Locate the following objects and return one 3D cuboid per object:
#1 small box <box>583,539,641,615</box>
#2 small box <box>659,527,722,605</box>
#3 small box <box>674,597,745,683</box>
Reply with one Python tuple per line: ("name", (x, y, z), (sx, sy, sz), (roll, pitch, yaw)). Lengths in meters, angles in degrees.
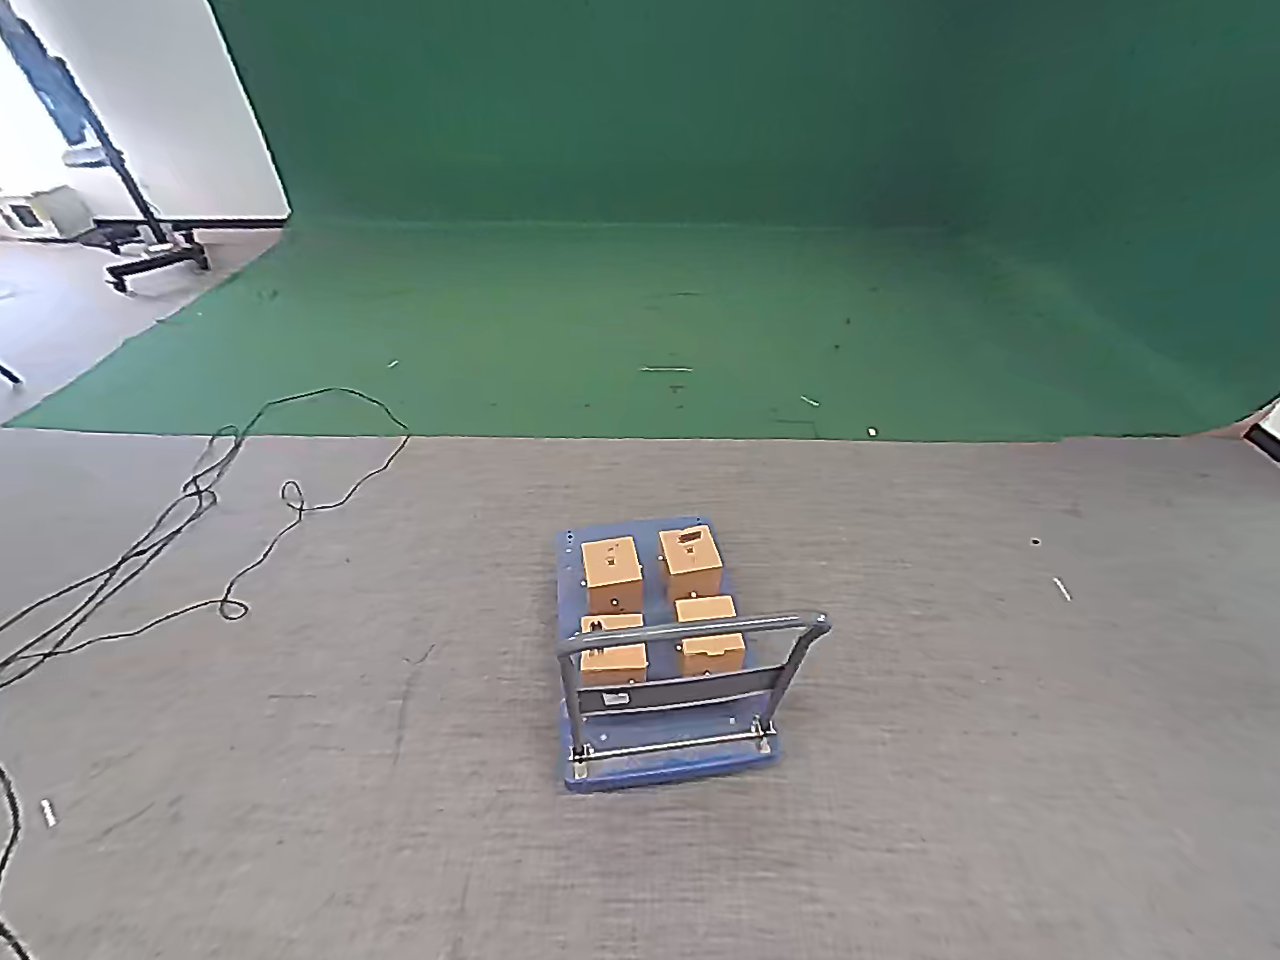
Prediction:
("small box", (-0.088, 0.316, 1.734), (0.168, 0.176, 0.179), (-7, 43, -9))
("small box", (0.158, 0.283, 1.770), (0.168, 0.176, 0.179), (-8, 44, -7))
("small box", (0.194, 0.466, 1.574), (0.168, 0.176, 0.179), (-4, 43, -5))
